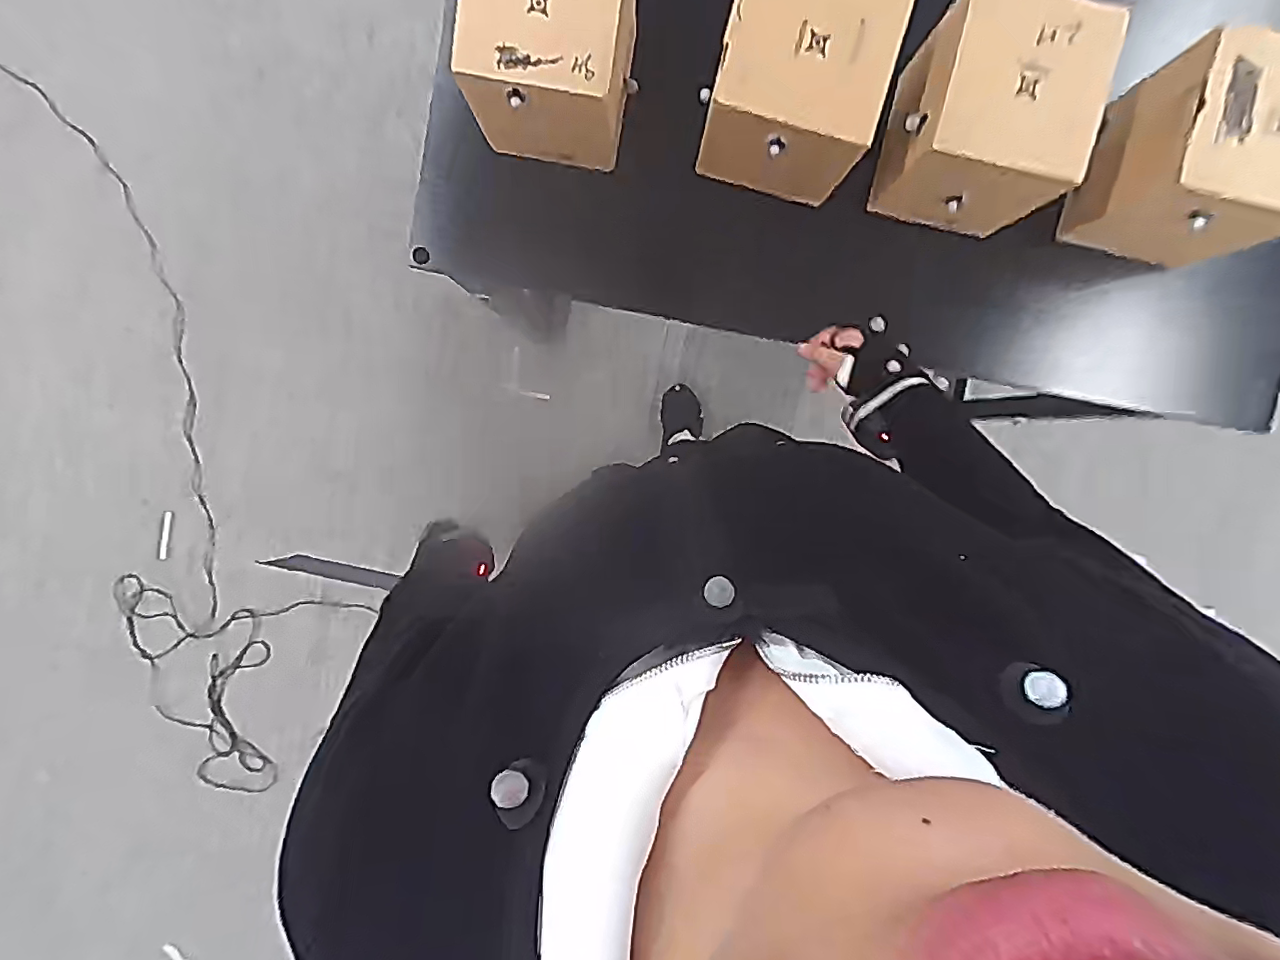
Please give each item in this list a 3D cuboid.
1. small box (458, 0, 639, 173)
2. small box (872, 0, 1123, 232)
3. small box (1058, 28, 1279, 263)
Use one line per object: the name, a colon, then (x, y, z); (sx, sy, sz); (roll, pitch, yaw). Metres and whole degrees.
small box: (-0.095, -0.504, 0.639); (0.168, 0.176, 0.179); (11, 95, 0)
small box: (0.403, -0.423, 0.646); (0.168, 0.176, 0.179); (13, 95, -2)
small box: (0.661, -0.380, 0.649); (0.179, 0.176, 0.168); (13, 95, -2)
